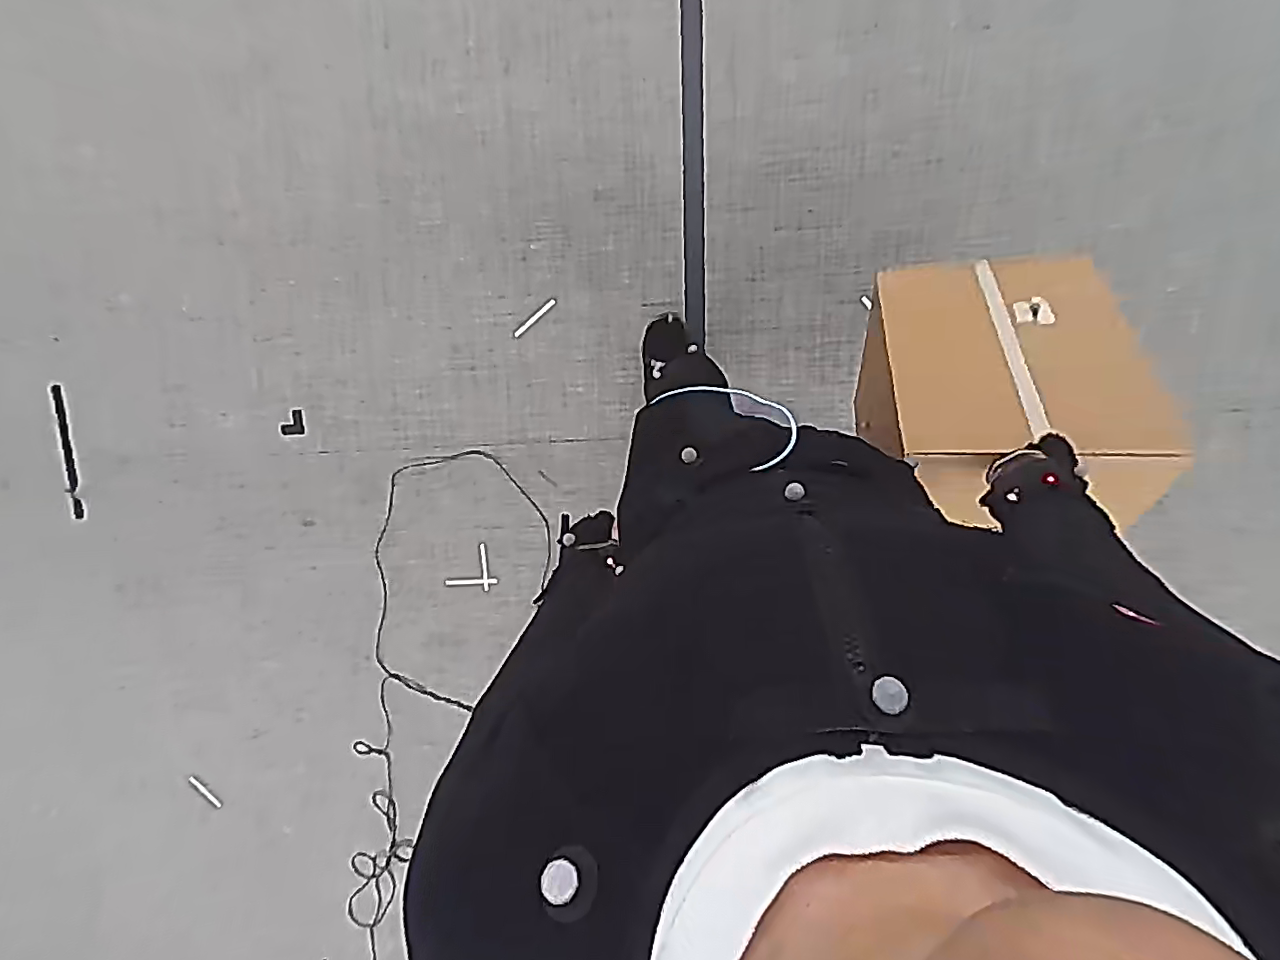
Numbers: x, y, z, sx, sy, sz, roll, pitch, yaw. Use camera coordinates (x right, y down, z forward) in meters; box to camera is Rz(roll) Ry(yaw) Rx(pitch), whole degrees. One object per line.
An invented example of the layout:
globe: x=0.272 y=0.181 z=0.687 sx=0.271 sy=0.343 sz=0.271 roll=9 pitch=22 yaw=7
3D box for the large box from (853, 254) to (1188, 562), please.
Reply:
large box: x=0.546 y=-0.110 z=0.892 sx=0.320 sy=0.408 sz=0.320 roll=1 pitch=144 yaw=13
